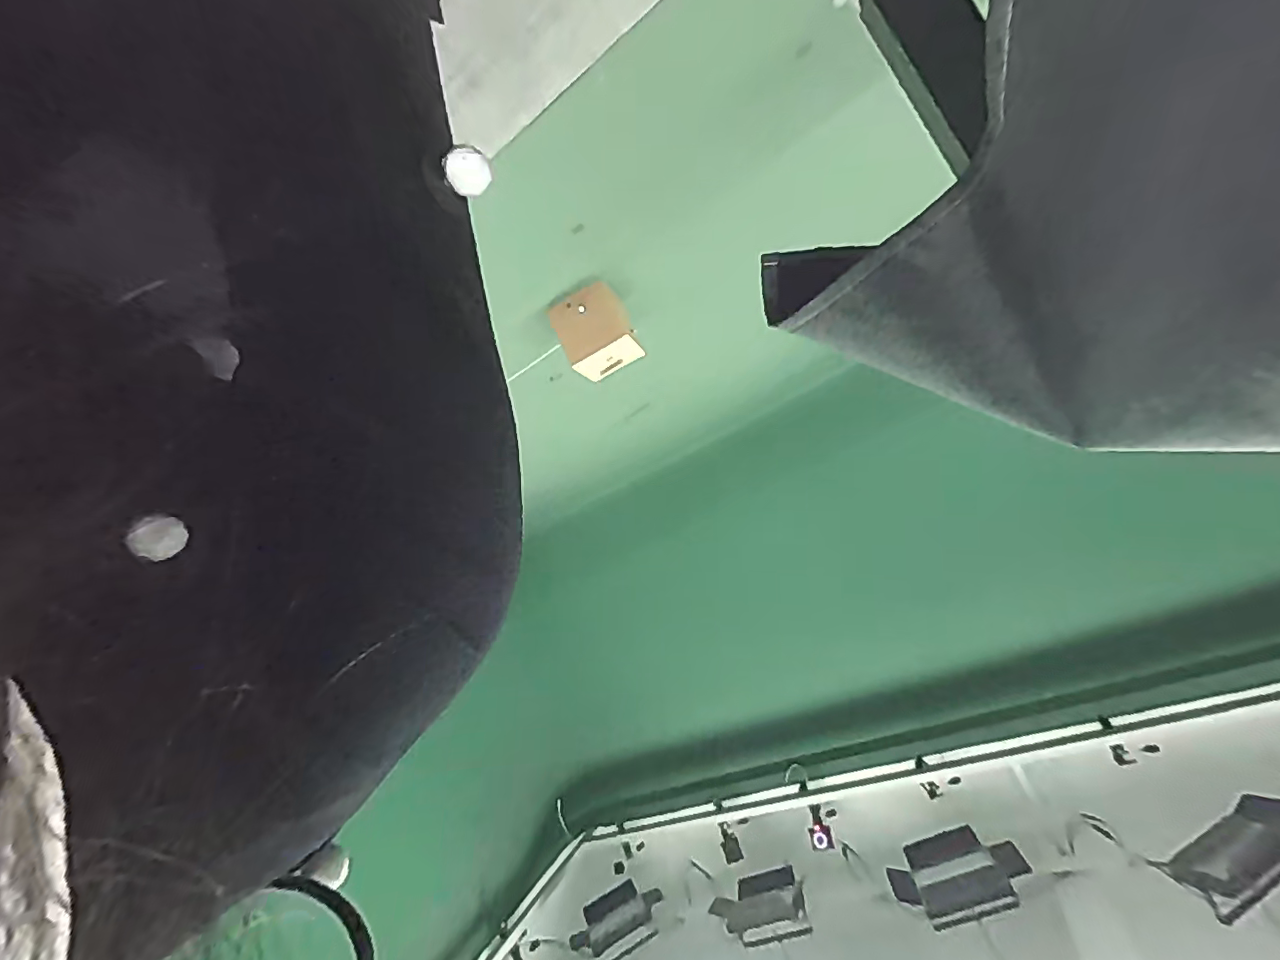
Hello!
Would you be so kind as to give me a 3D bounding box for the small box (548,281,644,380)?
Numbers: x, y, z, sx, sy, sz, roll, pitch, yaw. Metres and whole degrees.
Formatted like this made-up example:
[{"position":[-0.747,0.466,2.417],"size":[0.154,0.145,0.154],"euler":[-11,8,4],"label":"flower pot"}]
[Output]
[{"position":[-0.112,-0.388,1.411],"size":[0.168,0.176,0.179],"euler":[-28,171,12],"label":"small box"}]
